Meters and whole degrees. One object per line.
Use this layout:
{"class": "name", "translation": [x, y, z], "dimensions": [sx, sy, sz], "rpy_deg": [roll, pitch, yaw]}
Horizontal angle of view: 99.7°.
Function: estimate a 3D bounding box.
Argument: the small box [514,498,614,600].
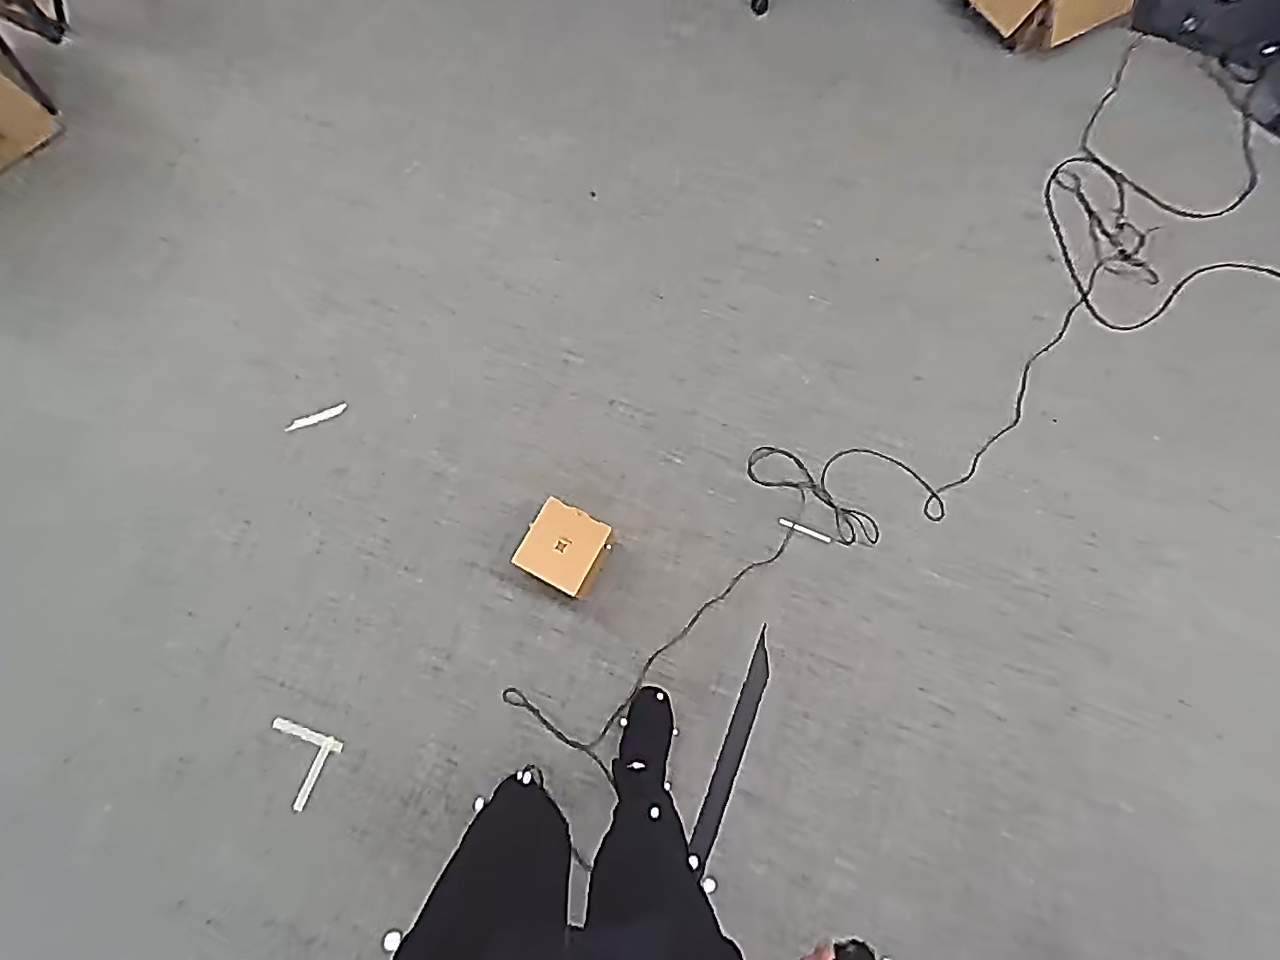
{"class": "small box", "translation": [-0.168, 0.171, 1.285], "dimensions": [0.168, 0.176, 0.179], "rpy_deg": [27, 75, 8]}
